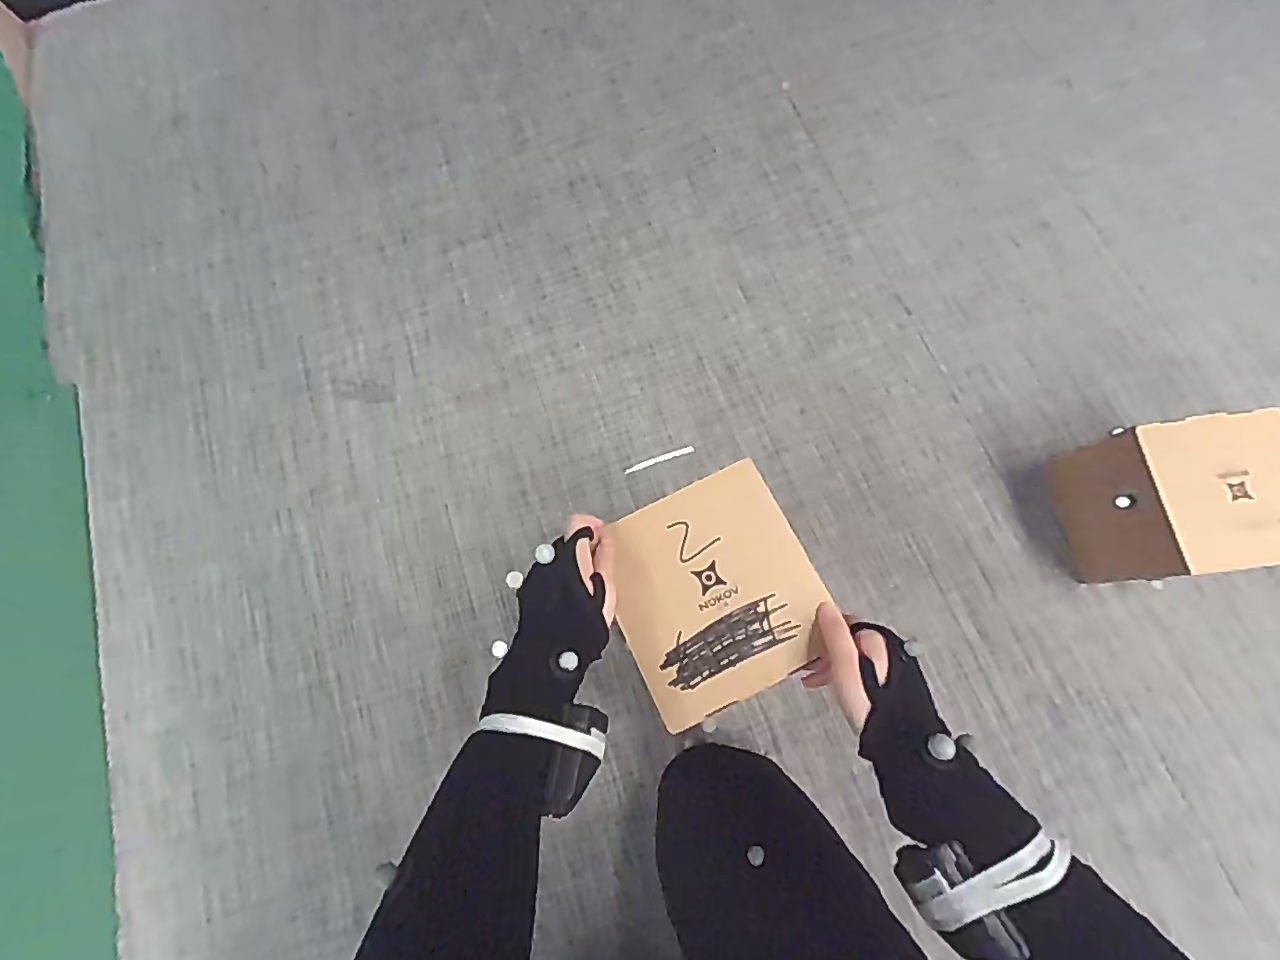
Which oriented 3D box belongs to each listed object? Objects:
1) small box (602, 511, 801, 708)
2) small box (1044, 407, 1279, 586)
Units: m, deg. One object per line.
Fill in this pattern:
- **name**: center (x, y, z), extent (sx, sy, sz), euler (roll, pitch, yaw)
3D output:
- **small box**: center (0.074, 0.163, 0.682), extent (0.179, 0.176, 0.168), euler (-27, 75, -3)
- **small box**: center (0.659, 0.029, 0.678), extent (0.168, 0.176, 0.179), euler (-8, 73, 3)
